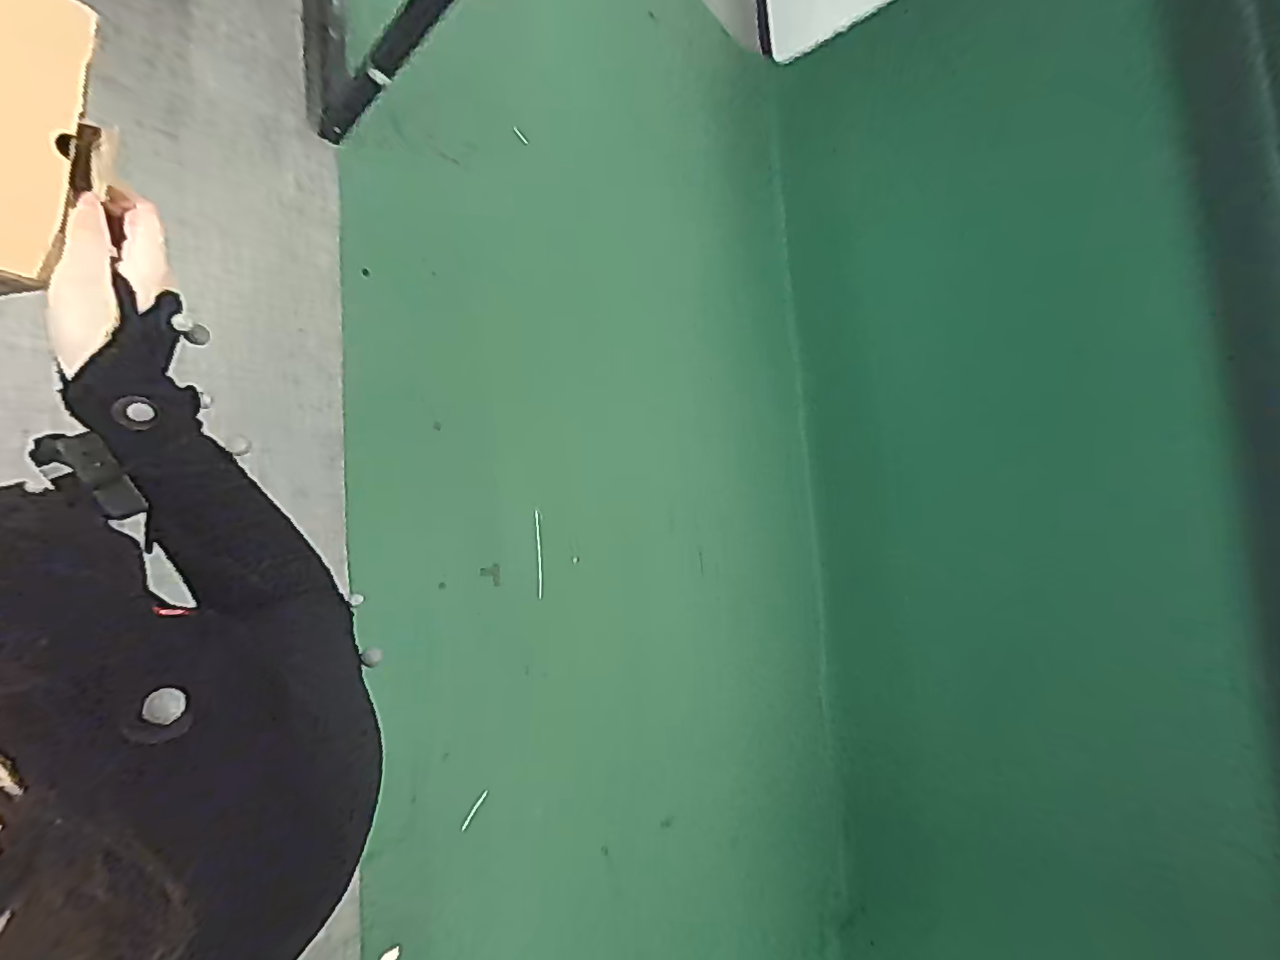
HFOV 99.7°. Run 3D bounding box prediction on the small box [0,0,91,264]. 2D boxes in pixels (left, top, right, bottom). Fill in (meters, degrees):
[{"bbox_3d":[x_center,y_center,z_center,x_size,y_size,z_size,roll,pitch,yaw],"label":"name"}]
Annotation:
[{"bbox_3d":[-0.447,-0.223,0.285,0.179,0.176,0.168,8,91,-60],"label":"small box"}]
